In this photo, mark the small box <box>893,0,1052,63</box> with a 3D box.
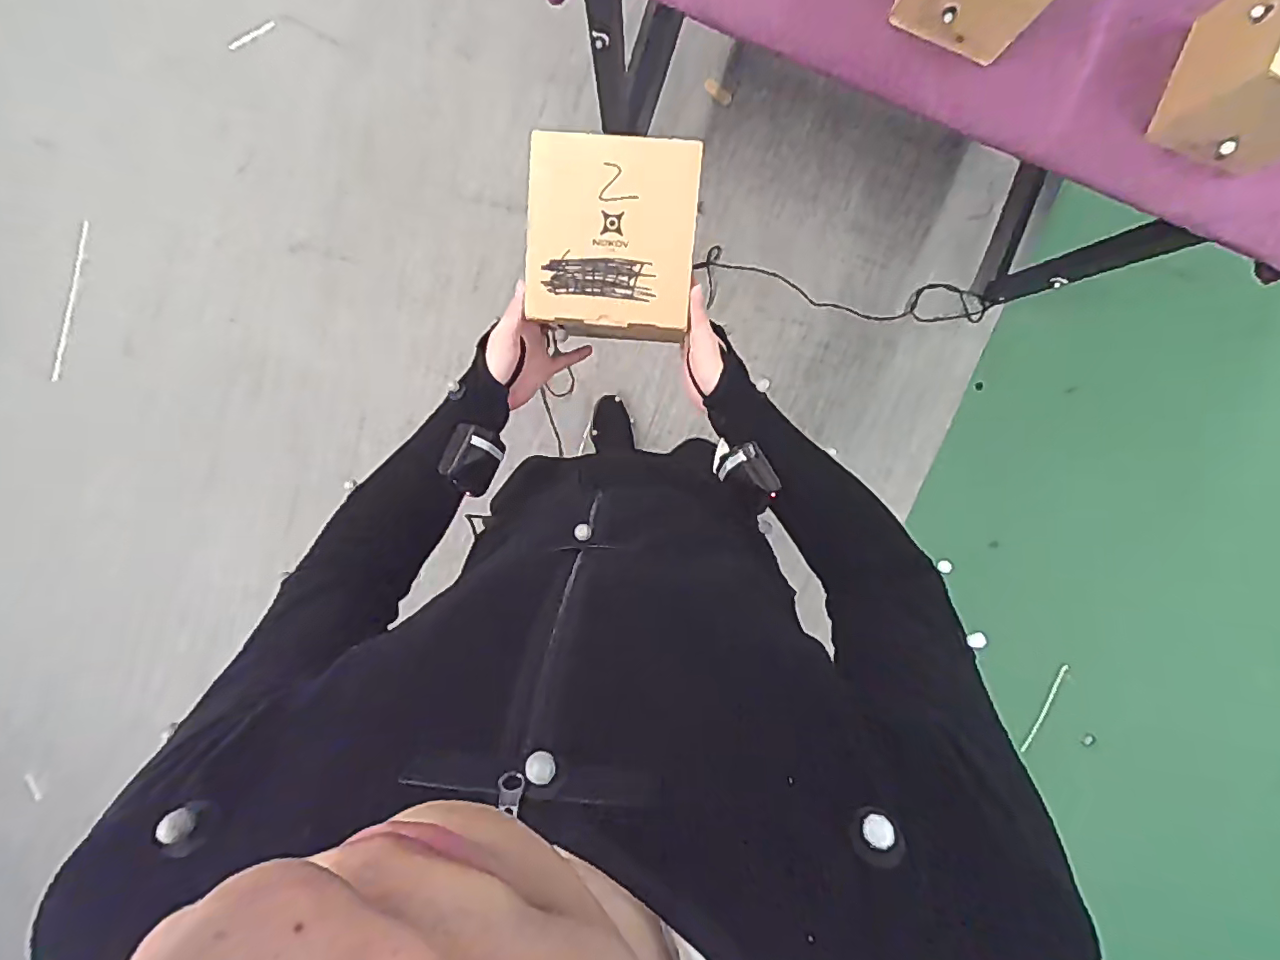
[{"bbox_3d":[0.469,-0.714,0.709,0.168,0.176,0.179,21,97,-4],"label":"small box"}]

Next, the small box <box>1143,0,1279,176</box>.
[{"bbox_3d":[0.858,-0.558,0.736,0.168,0.176,0.179,19,98,-2],"label":"small box"}]
